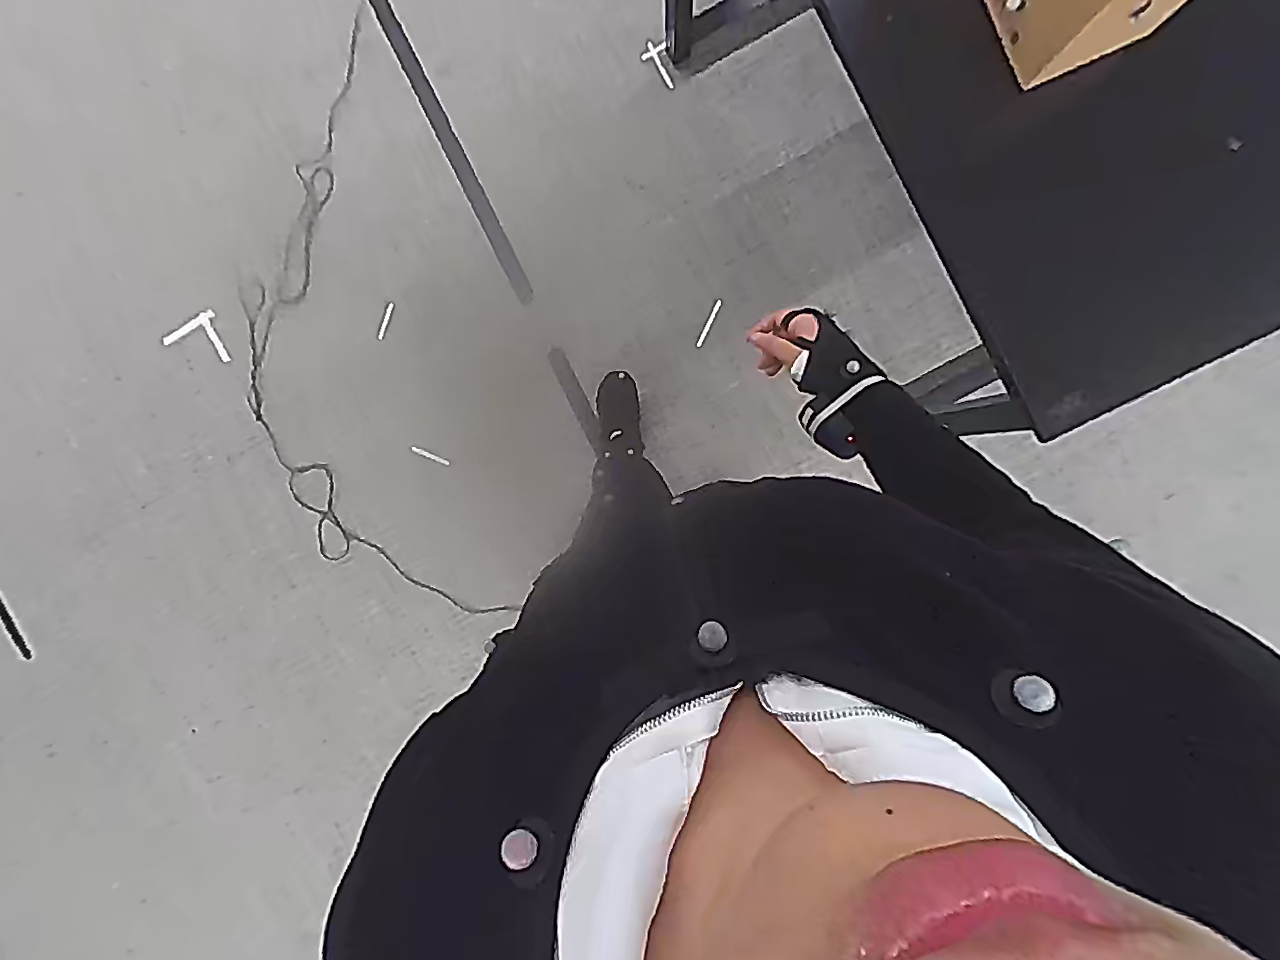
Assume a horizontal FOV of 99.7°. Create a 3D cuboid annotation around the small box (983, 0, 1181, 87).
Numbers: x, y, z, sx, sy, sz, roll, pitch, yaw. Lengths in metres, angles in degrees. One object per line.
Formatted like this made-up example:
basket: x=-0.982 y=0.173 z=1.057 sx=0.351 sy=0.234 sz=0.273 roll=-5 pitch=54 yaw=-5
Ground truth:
small box: x=0.552 y=-0.623 z=0.638 sx=0.179 sy=0.176 sz=0.168 roll=-23 pitch=91 yaw=4
